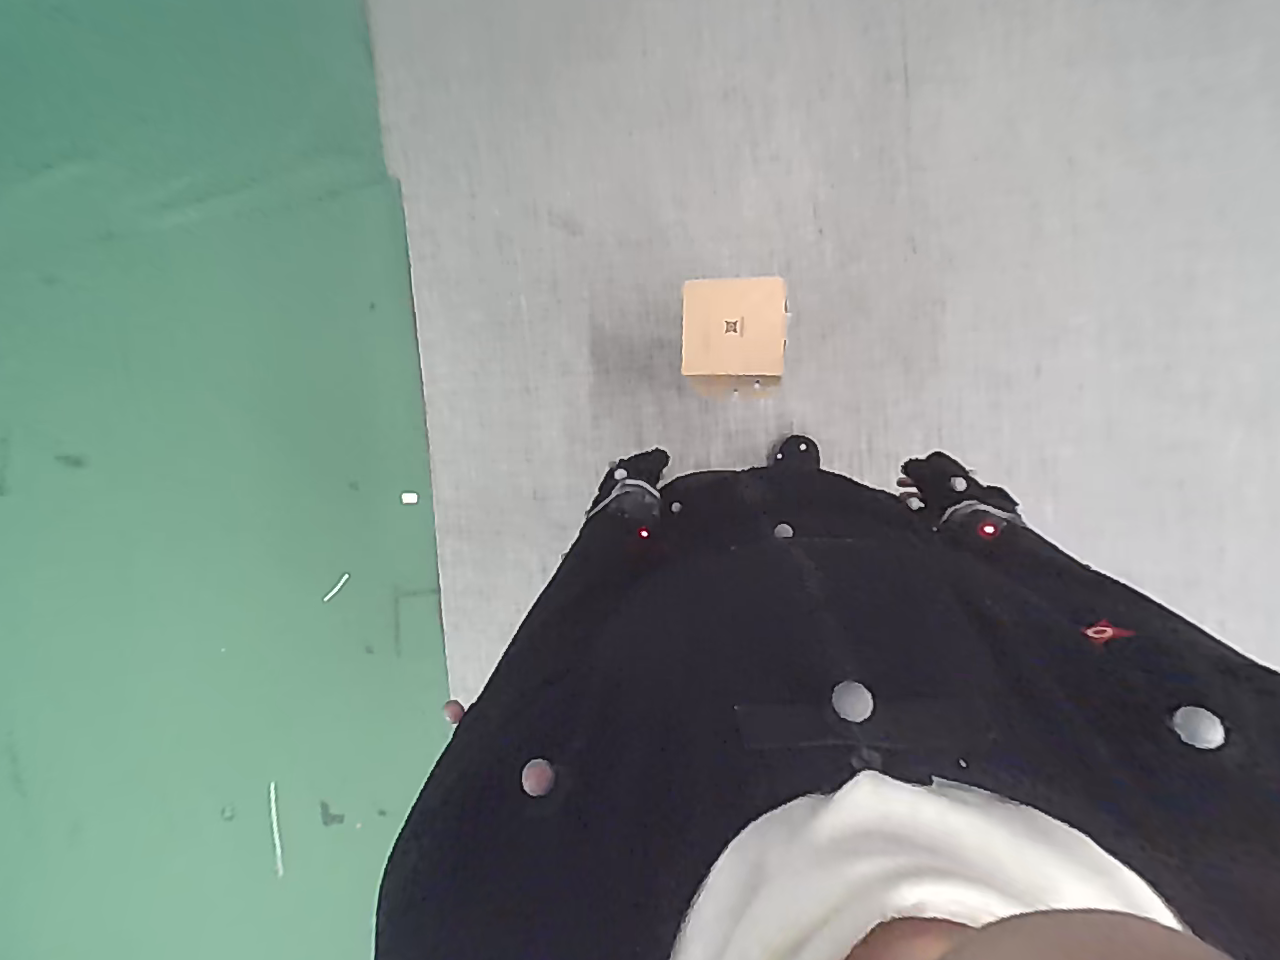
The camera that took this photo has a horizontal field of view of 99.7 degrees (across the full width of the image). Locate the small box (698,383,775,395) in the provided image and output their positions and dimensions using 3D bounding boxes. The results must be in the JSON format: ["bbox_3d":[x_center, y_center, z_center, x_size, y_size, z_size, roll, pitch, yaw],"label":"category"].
[{"bbox_3d":[0.237,-0.299,1.320,0.179,0.176,0.168,1,94,12],"label":"small box"}]

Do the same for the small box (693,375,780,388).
[{"bbox_3d":[0.206,-0.286,1.162,0.179,0.176,0.168,-1,96,12],"label":"small box"}]

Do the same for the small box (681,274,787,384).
[{"bbox_3d":[0.174,-0.271,1.001,0.179,0.176,0.168,2,93,12],"label":"small box"}]
